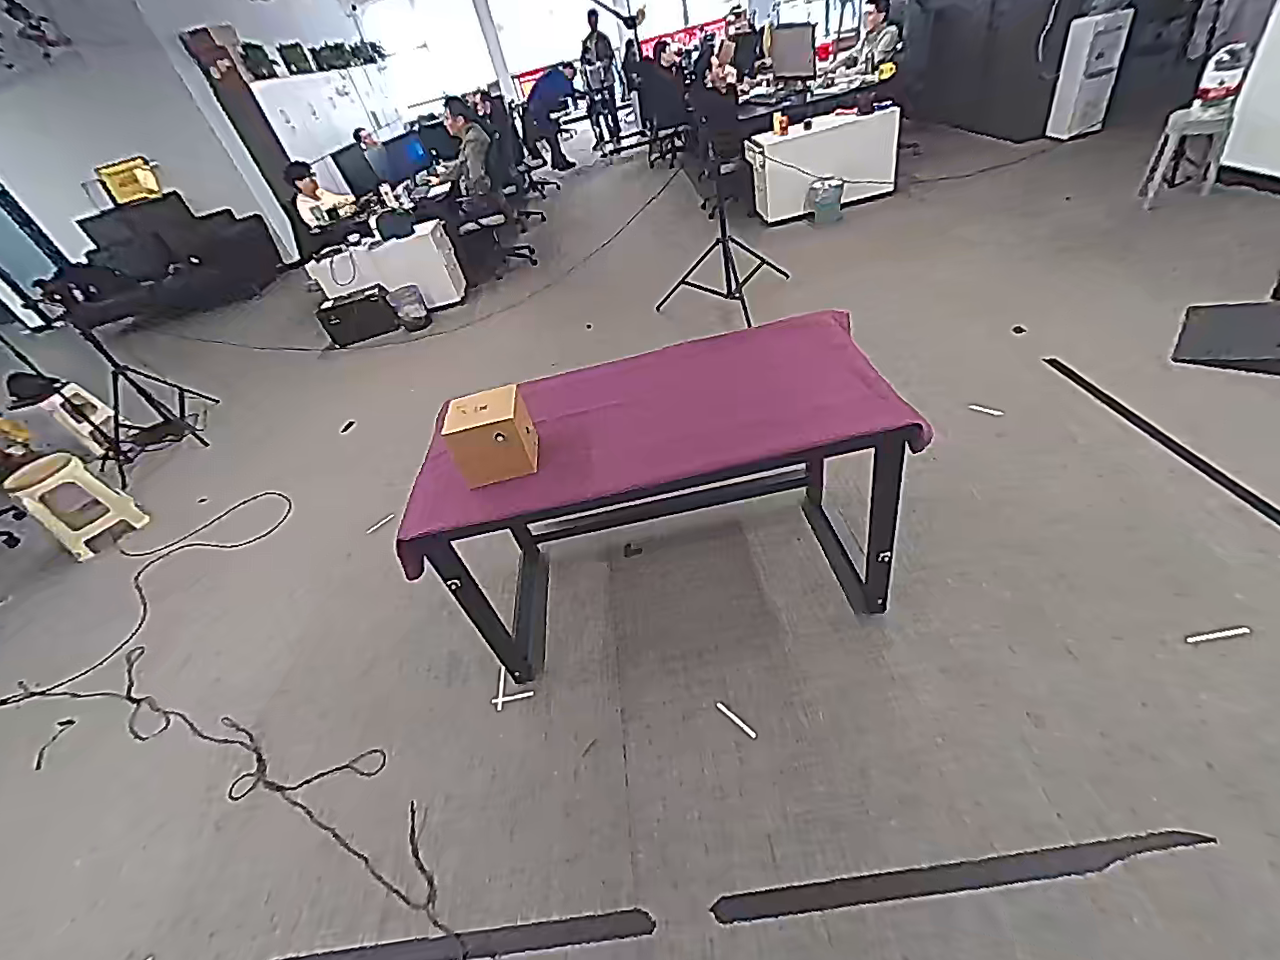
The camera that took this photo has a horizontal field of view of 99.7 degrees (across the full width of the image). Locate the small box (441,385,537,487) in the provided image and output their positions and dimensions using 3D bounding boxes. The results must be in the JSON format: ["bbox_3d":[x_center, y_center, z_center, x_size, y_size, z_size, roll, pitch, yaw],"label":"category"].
[{"bbox_3d":[-0.364,-0.107,1.344,0.179,0.176,0.168,-14,38,2],"label":"small box"}]
